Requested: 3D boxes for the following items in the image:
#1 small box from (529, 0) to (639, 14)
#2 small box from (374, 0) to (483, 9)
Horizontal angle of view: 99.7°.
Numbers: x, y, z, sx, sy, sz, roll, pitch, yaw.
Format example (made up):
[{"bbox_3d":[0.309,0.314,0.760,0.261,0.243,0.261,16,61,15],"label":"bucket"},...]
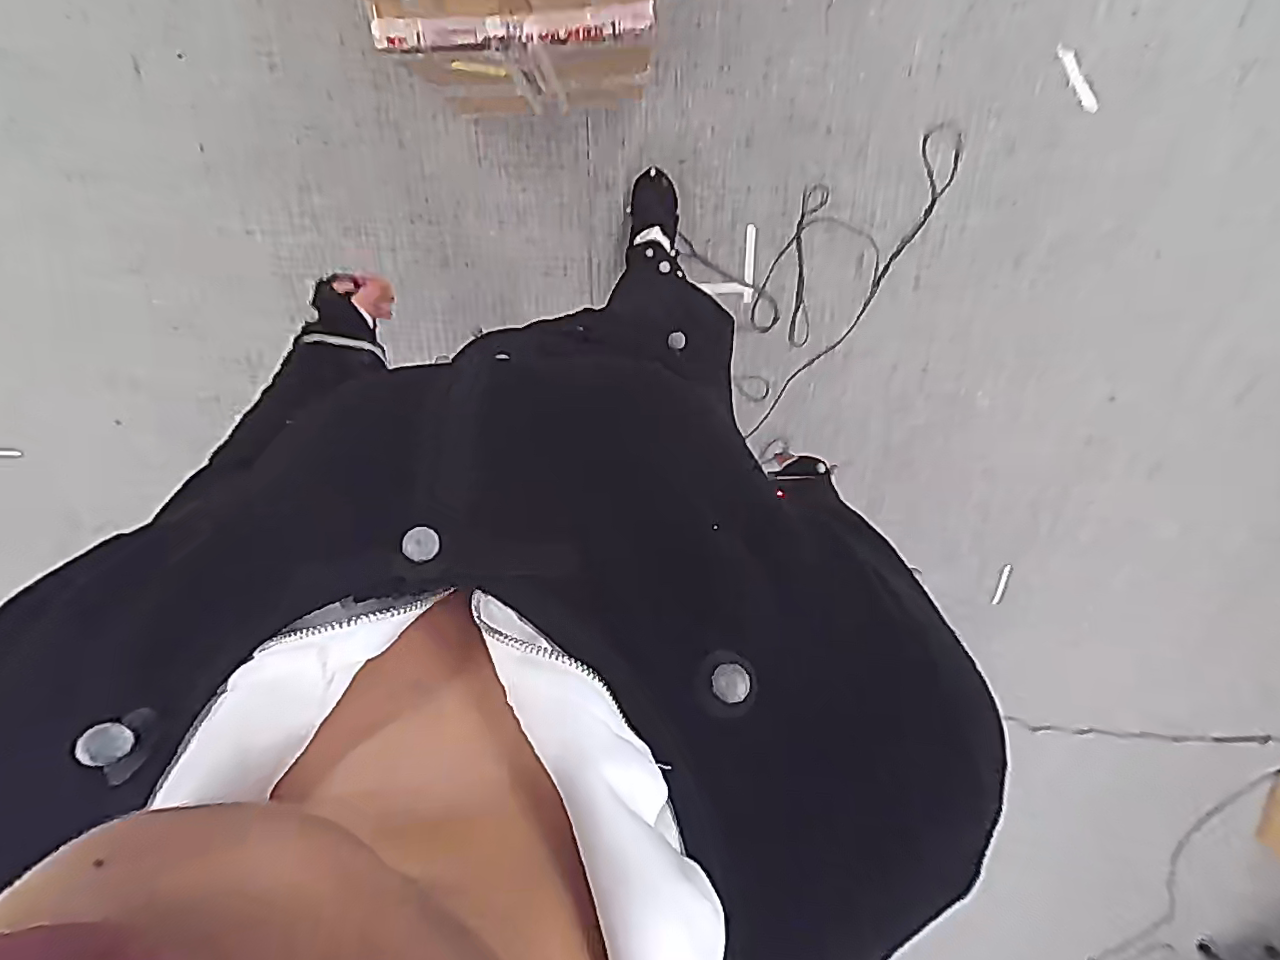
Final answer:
[{"bbox_3d":[-0.066,-0.685,0.636,0.179,0.176,0.168,-7,117,1],"label":"small box"},{"bbox_3d":[-0.288,-0.688,0.627,0.168,0.176,0.179,-3,118,2],"label":"small box"}]
